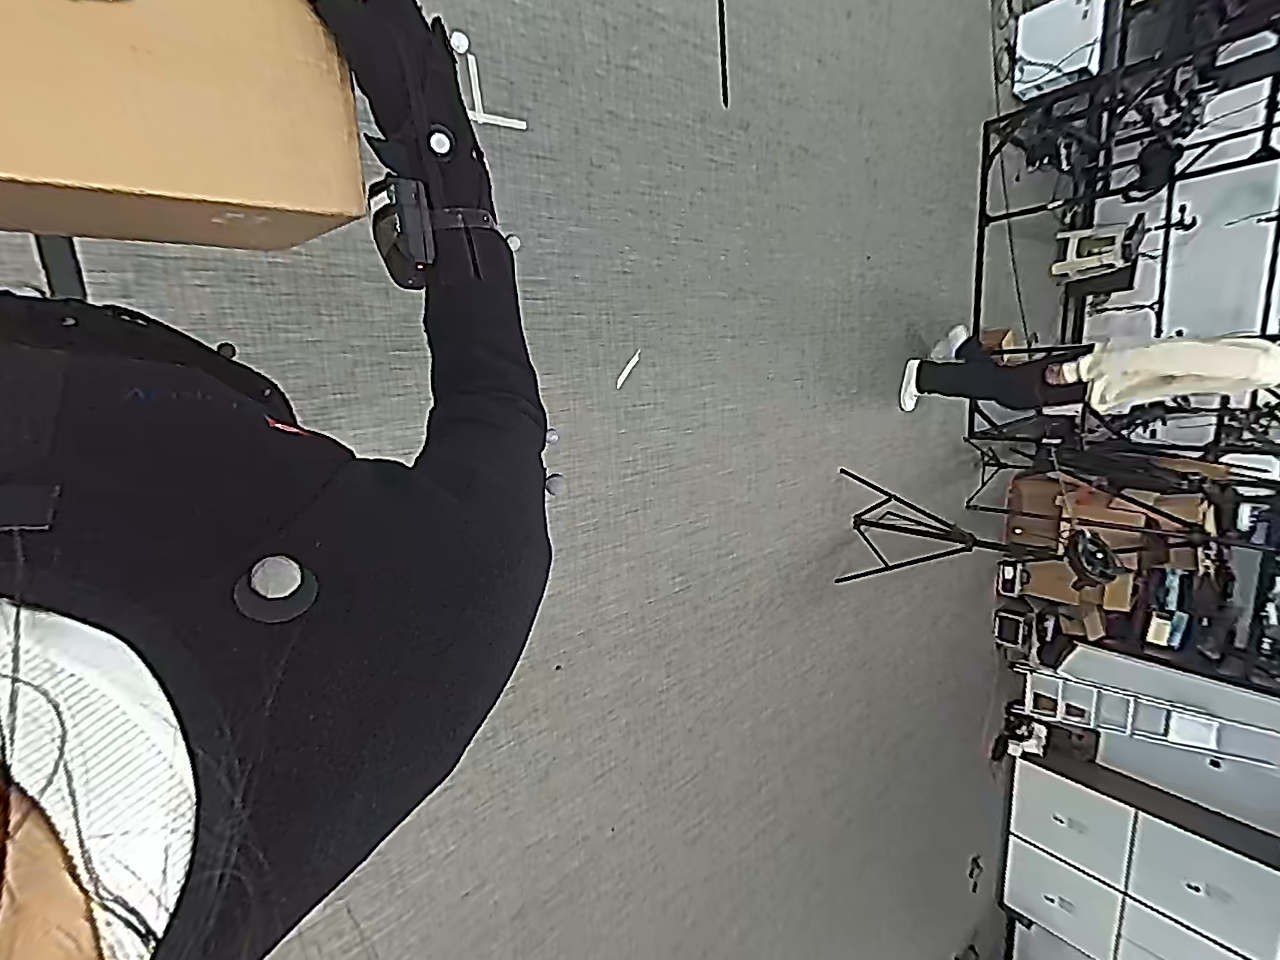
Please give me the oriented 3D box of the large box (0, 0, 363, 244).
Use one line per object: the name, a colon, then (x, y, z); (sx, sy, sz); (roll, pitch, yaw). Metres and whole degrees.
large box: (-0.454, -0.336, 0.336); (0.408, 0.320, 0.320); (-15, 114, -40)
